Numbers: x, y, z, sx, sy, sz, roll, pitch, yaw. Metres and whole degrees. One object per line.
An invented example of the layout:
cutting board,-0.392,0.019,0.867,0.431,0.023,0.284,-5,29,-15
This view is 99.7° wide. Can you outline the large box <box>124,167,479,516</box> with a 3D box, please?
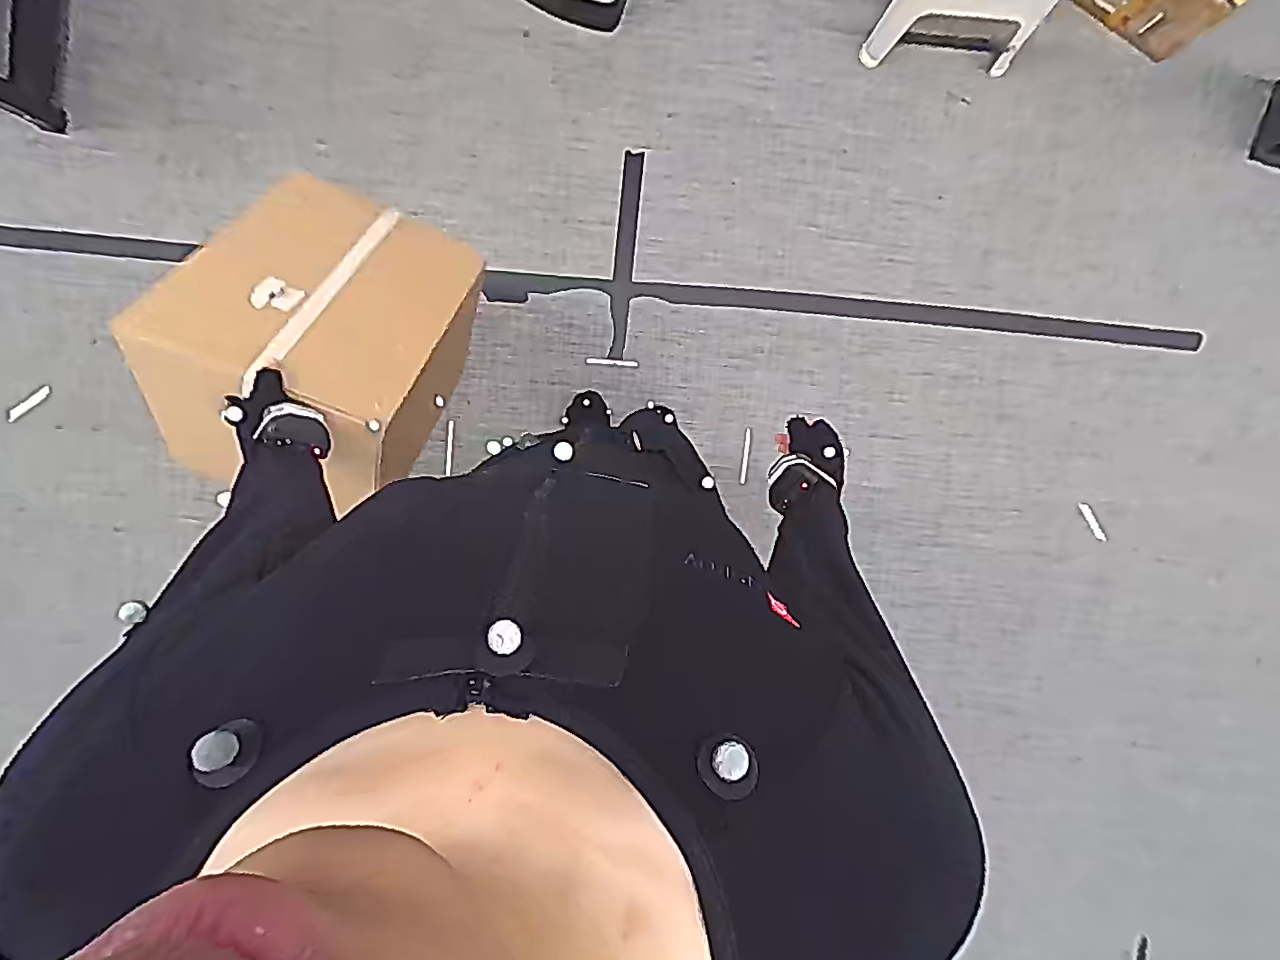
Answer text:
large box,-0.502,-0.215,0.899,0.320,0.320,0.408,21,55,-13
